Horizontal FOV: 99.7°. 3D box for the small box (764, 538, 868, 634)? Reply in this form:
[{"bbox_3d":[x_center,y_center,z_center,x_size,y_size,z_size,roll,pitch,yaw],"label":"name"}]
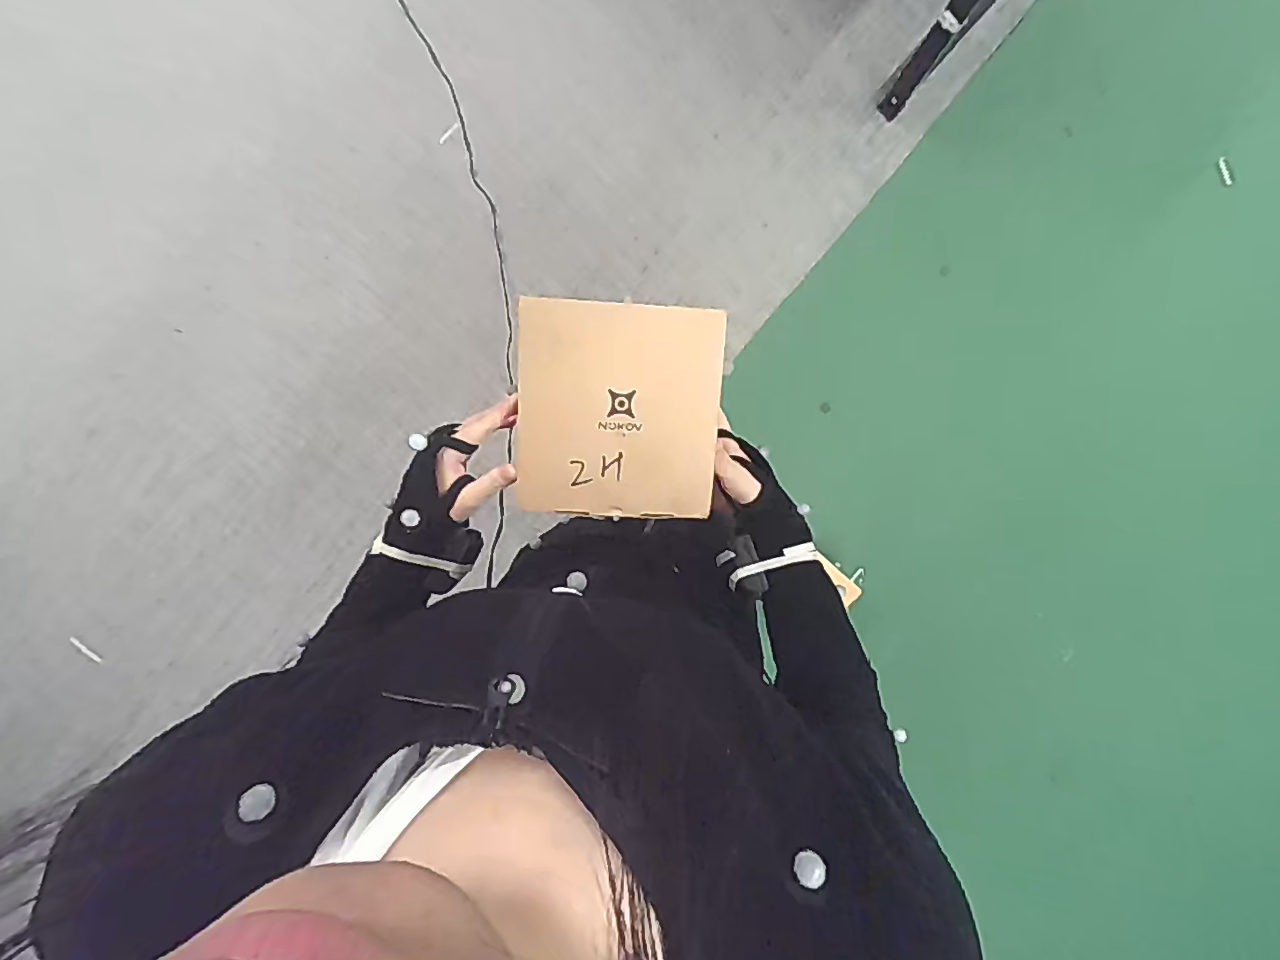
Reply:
[{"bbox_3d":[0.457,0.271,1.434,0.179,0.176,0.168,41,92,-2],"label":"small box"}]
